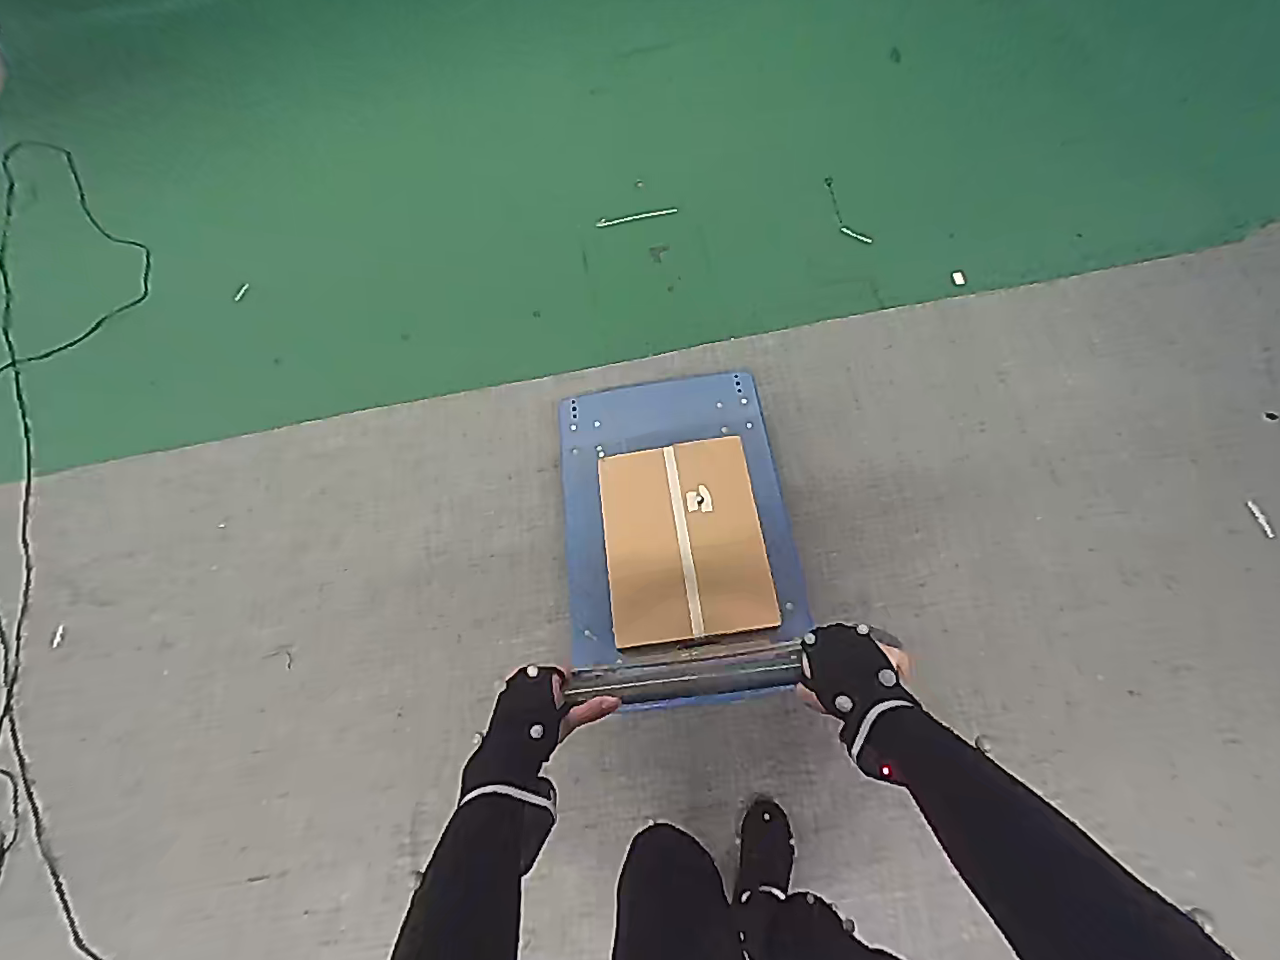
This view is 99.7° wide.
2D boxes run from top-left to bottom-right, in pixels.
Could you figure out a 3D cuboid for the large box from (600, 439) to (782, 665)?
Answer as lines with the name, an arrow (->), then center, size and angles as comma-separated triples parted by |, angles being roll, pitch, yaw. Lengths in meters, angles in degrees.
large box -> 0.108, 0.175, 1.221 | 0.320, 0.320, 0.408 | -9, 65, 3
